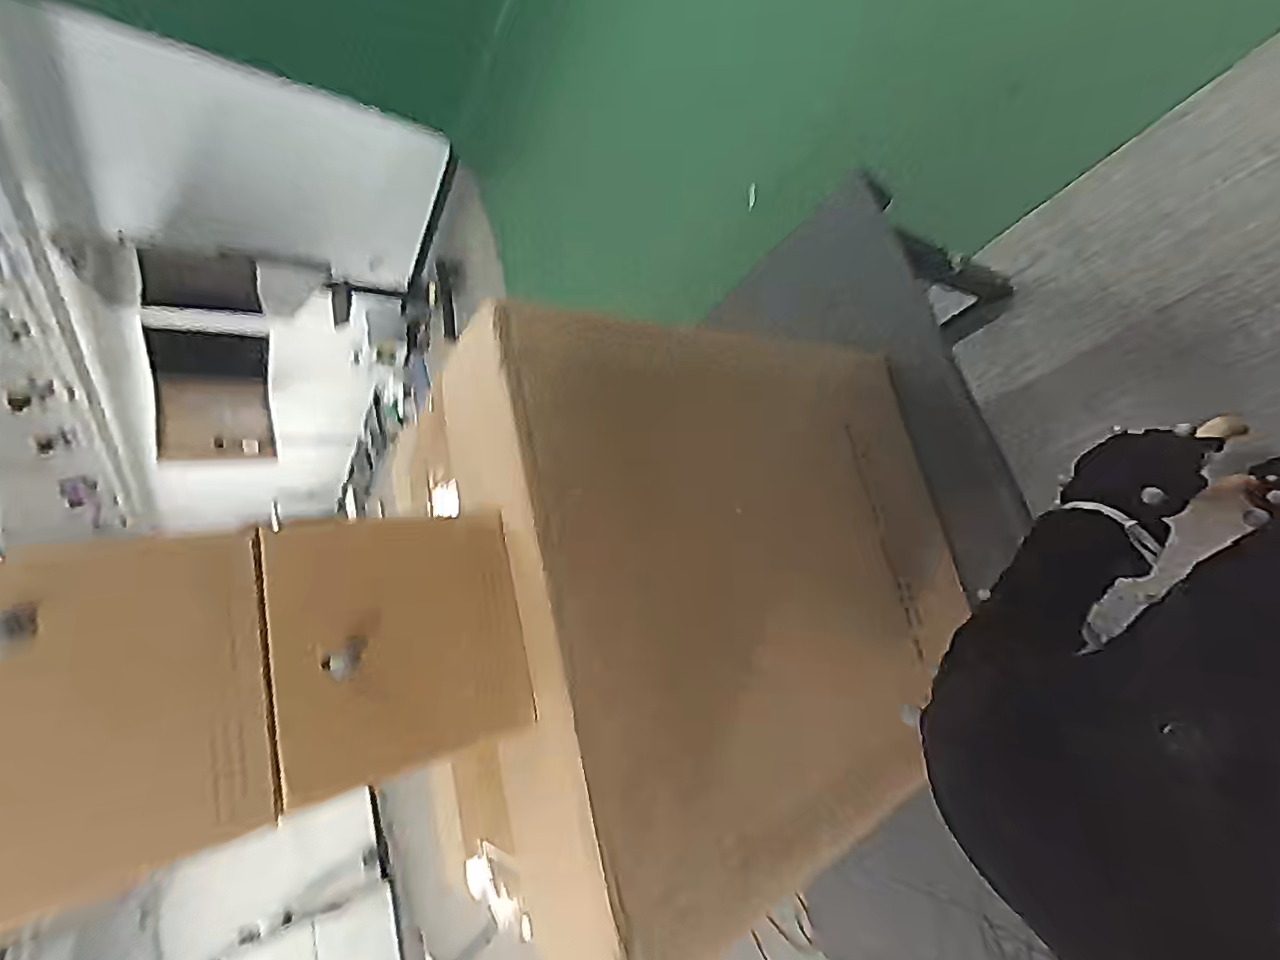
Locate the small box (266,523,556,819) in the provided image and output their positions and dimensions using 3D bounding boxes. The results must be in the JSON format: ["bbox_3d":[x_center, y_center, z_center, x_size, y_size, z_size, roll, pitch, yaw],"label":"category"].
[{"bbox_3d":[-0.190,0.137,0.442,0.168,0.176,0.179,-27,72,48],"label":"small box"}]
